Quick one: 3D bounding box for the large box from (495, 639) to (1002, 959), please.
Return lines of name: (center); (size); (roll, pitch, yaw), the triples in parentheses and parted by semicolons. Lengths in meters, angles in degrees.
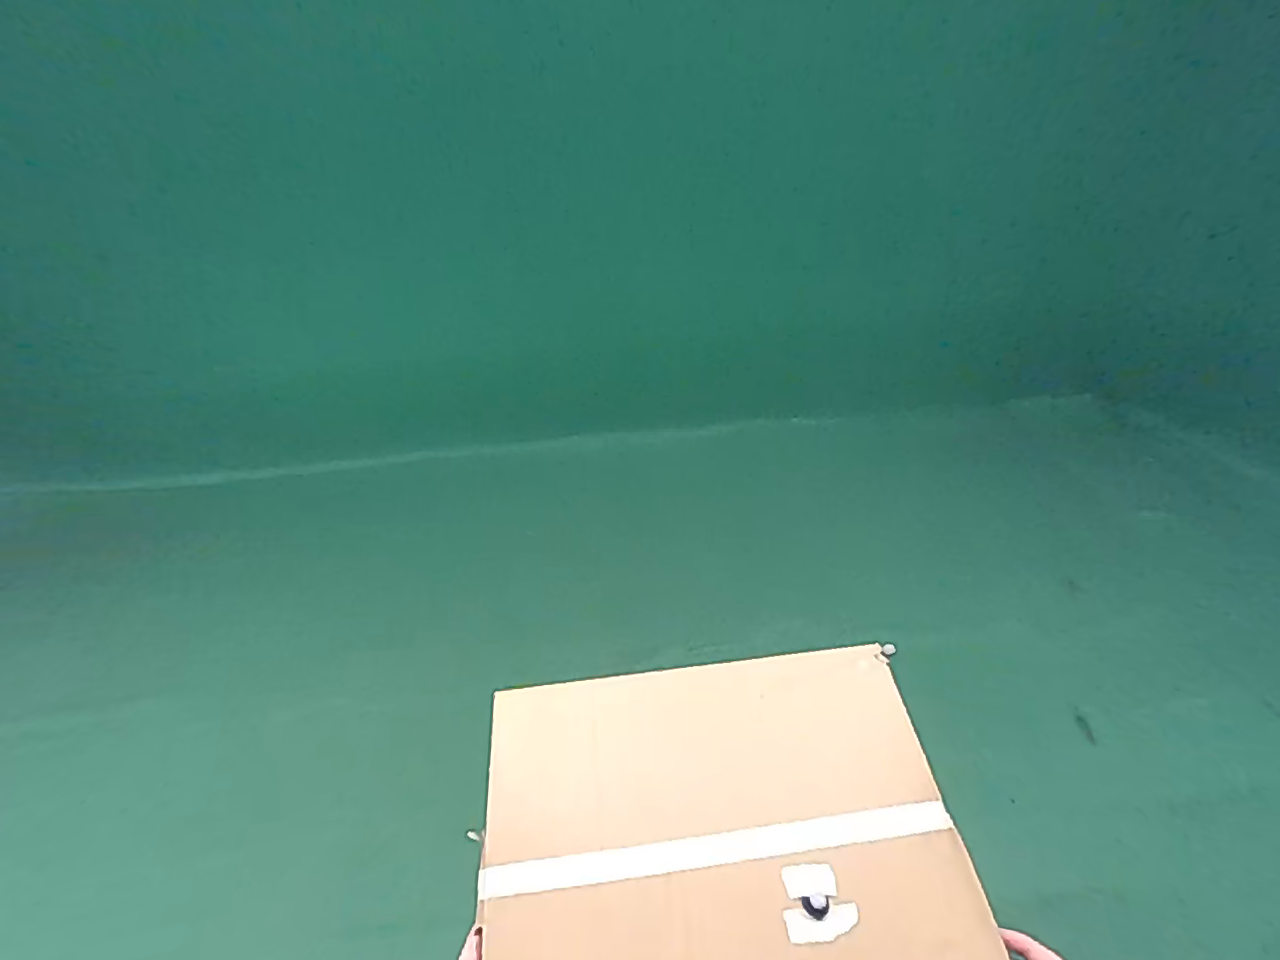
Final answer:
large box: (0.074, 0.406, 0.594); (0.408, 0.320, 0.320); (-6, 53, -4)
